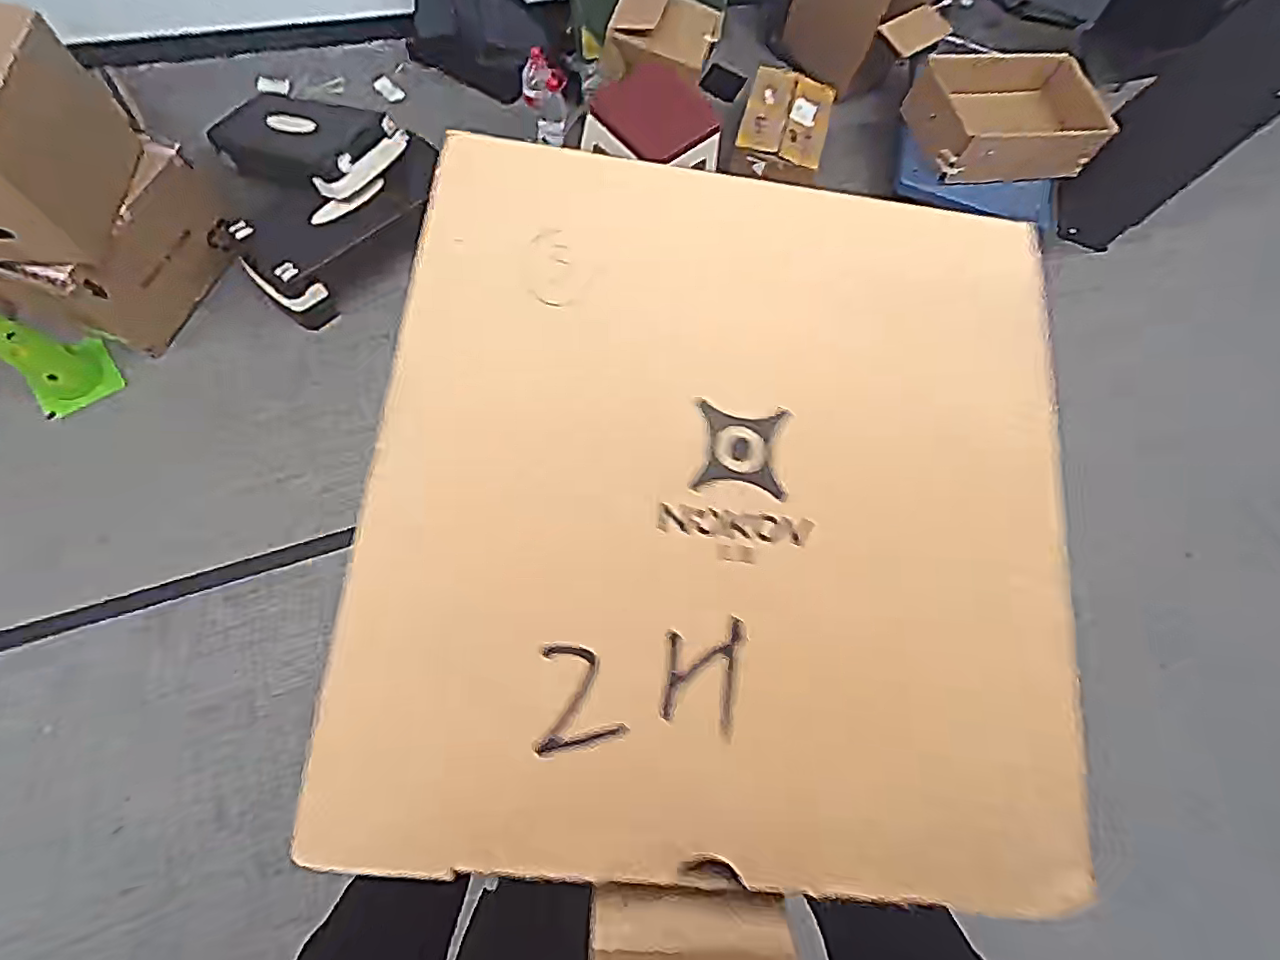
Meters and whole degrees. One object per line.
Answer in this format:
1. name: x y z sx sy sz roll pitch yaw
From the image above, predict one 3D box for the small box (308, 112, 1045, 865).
1. small box: 0.013 0.009 0.213 0.168 0.176 0.179 7 78 -3
